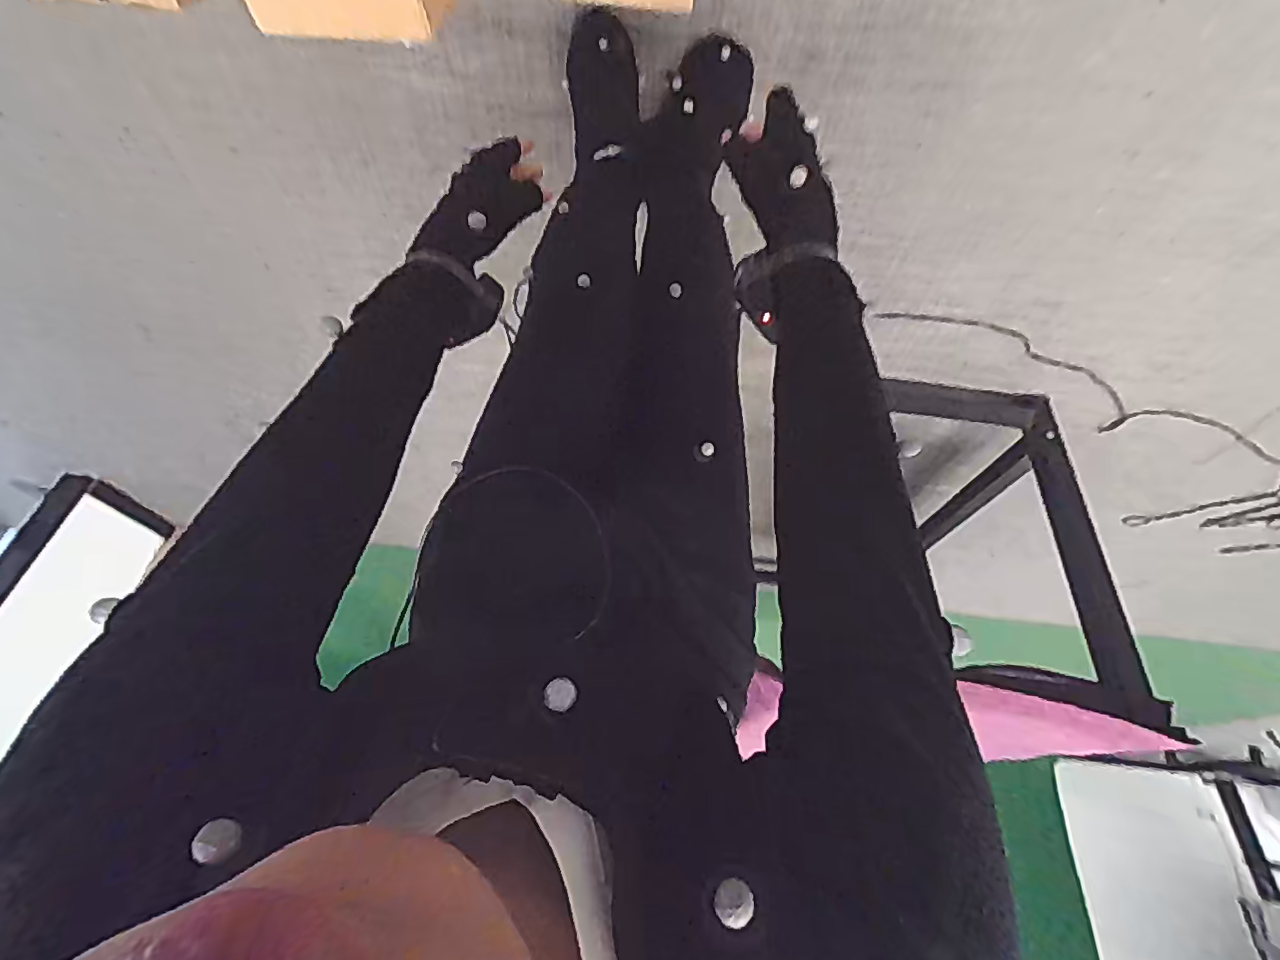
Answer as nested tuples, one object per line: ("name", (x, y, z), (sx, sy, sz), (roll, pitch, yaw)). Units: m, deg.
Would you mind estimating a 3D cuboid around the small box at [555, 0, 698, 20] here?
("small box", (-0.005, -0.646, 0.585), (0.168, 0.176, 0.179), (7, 149, 1))
